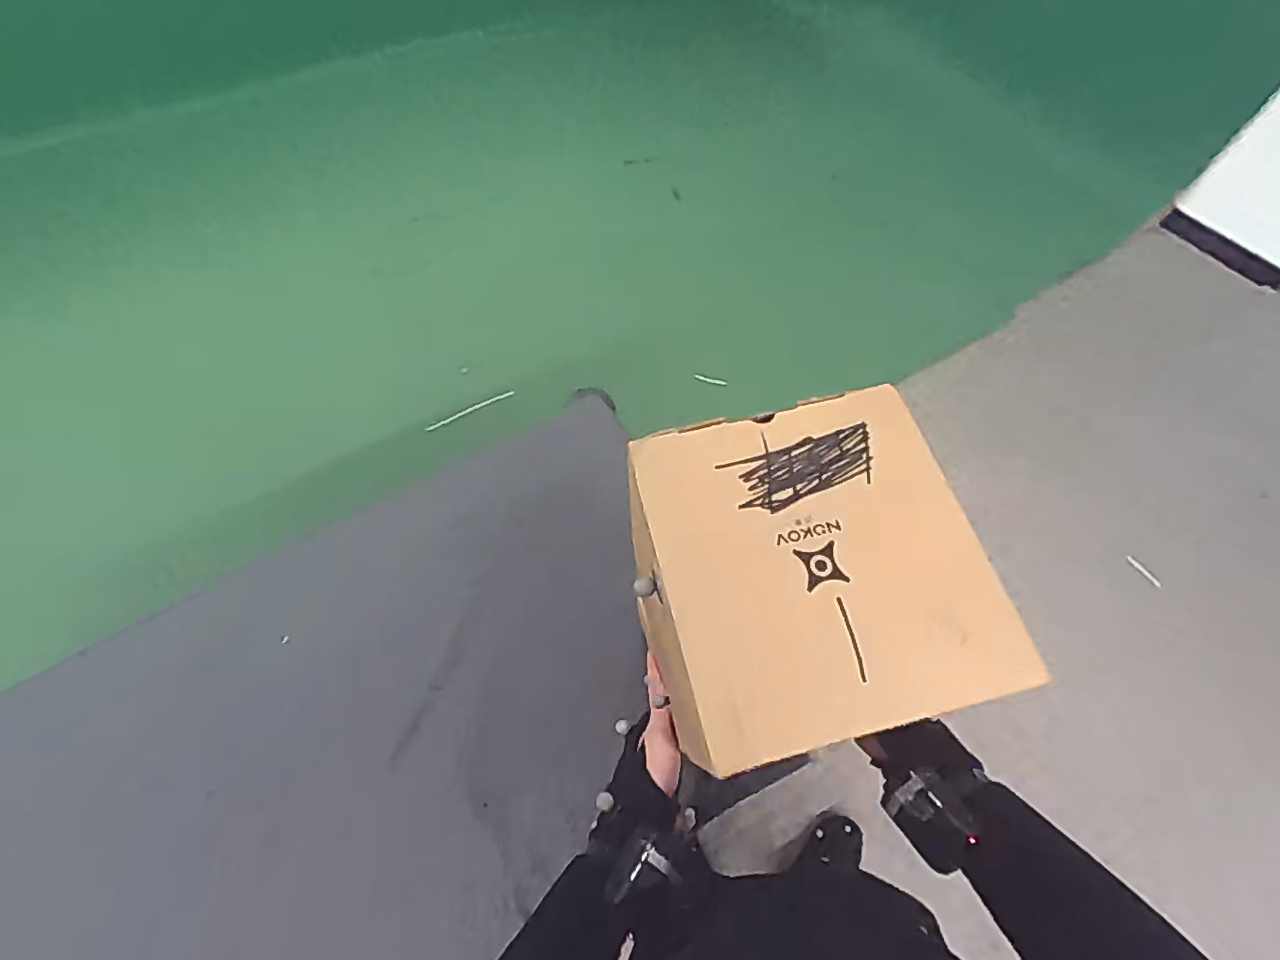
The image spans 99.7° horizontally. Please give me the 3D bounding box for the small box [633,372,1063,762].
[{"bbox_3d":[0.091,0.063,0.338,0.168,0.176,0.179,-12,65,-5],"label":"small box"}]
